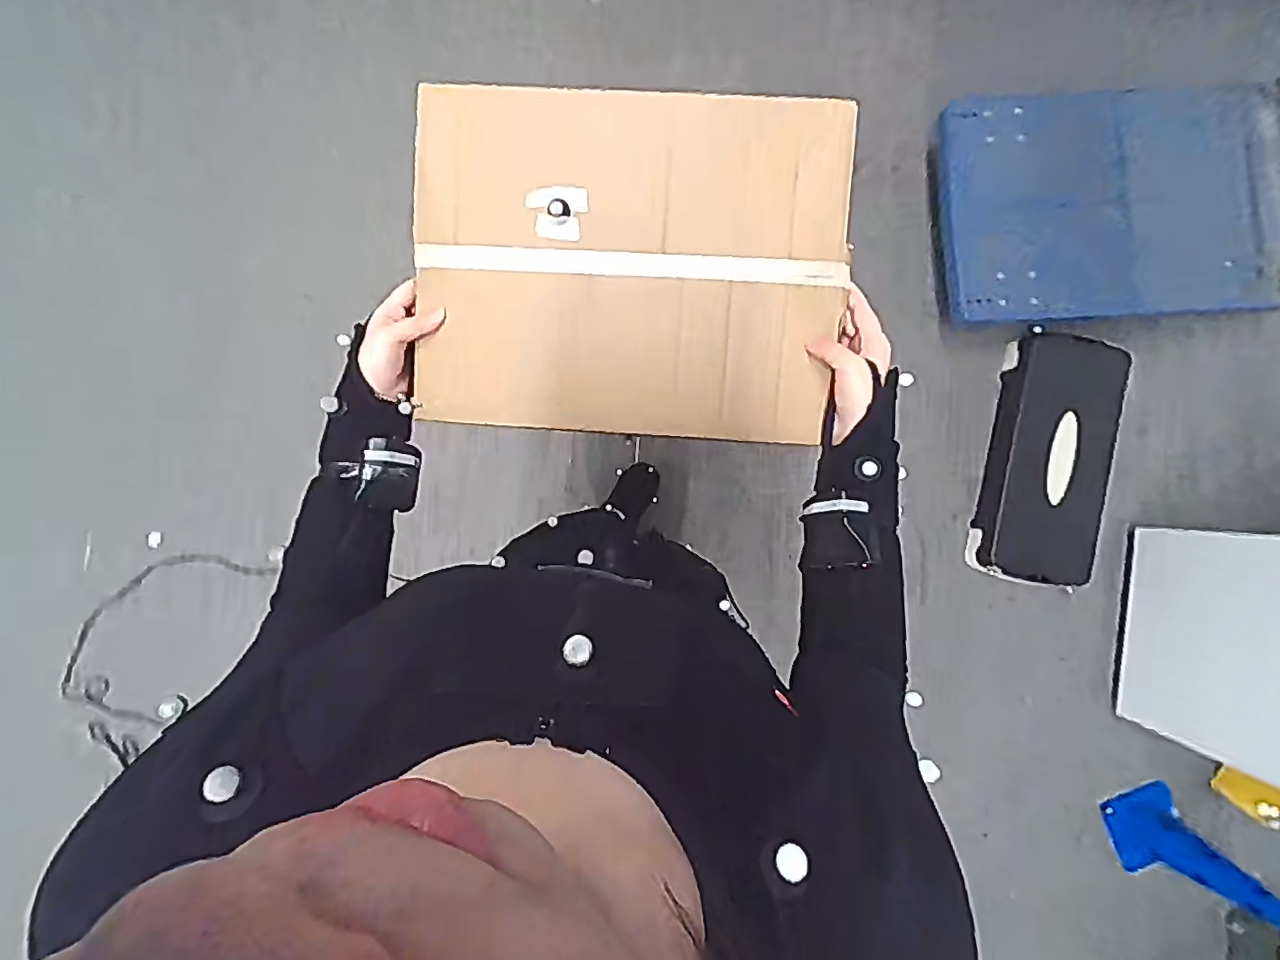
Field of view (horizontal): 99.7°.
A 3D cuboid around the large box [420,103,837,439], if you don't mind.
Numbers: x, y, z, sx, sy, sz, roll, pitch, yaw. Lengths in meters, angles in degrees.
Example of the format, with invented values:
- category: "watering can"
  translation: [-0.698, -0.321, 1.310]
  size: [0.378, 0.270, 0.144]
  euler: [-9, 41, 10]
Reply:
- category: "large box"
  translation: [-0.008, -0.218, 0.672]
  size: [0.408, 0.320, 0.320]
  euler: [3, 96, 4]
